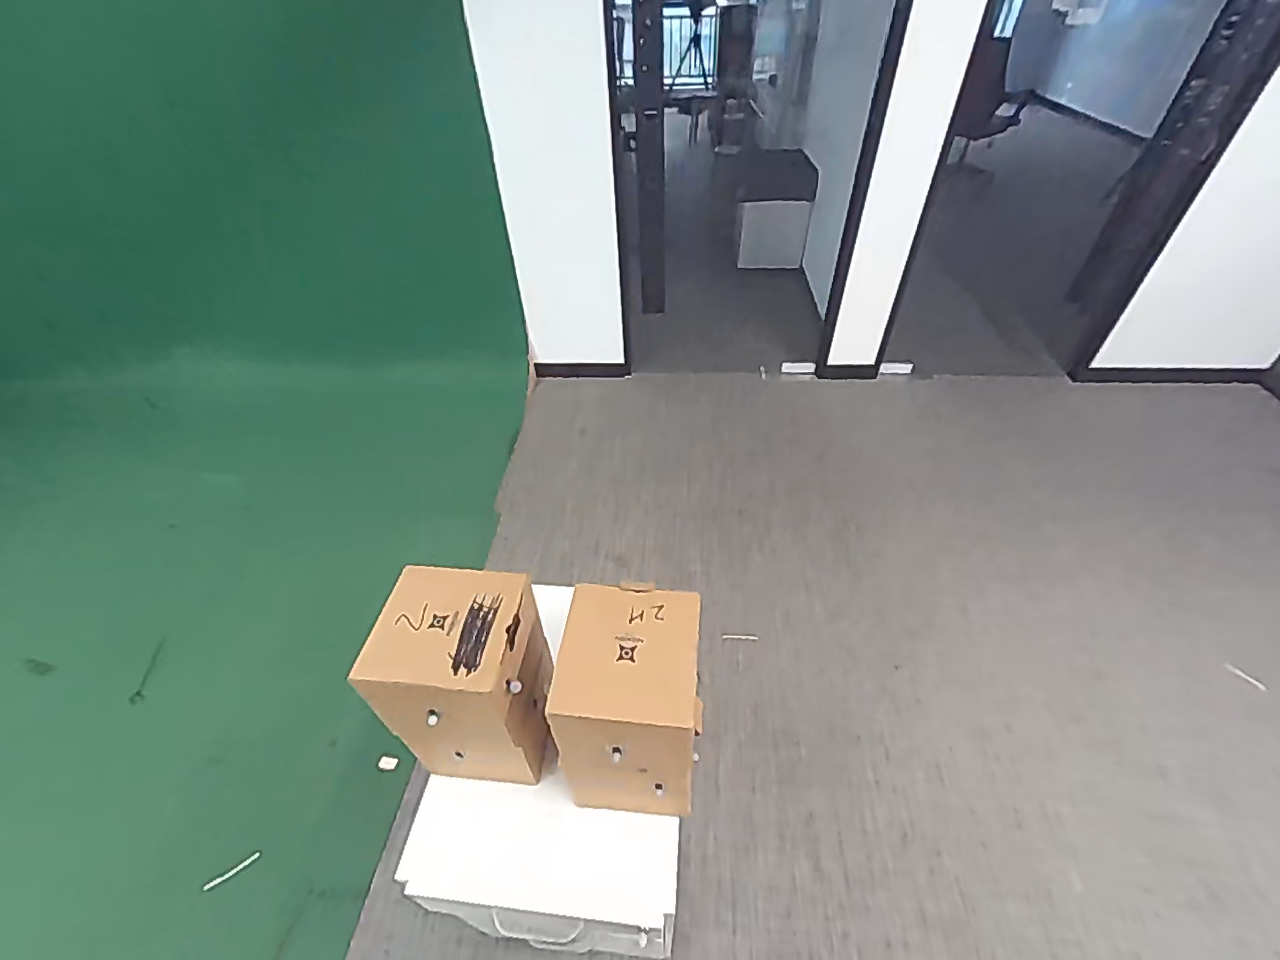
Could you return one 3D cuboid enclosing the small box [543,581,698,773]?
[{"bbox_3d":[-0.014,0.256,0.701,0.168,0.176,0.179,4,44,6],"label":"small box"}]

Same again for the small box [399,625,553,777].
[{"bbox_3d":[-0.239,0.349,0.850,0.179,0.176,0.168,4,45,4],"label":"small box"}]
